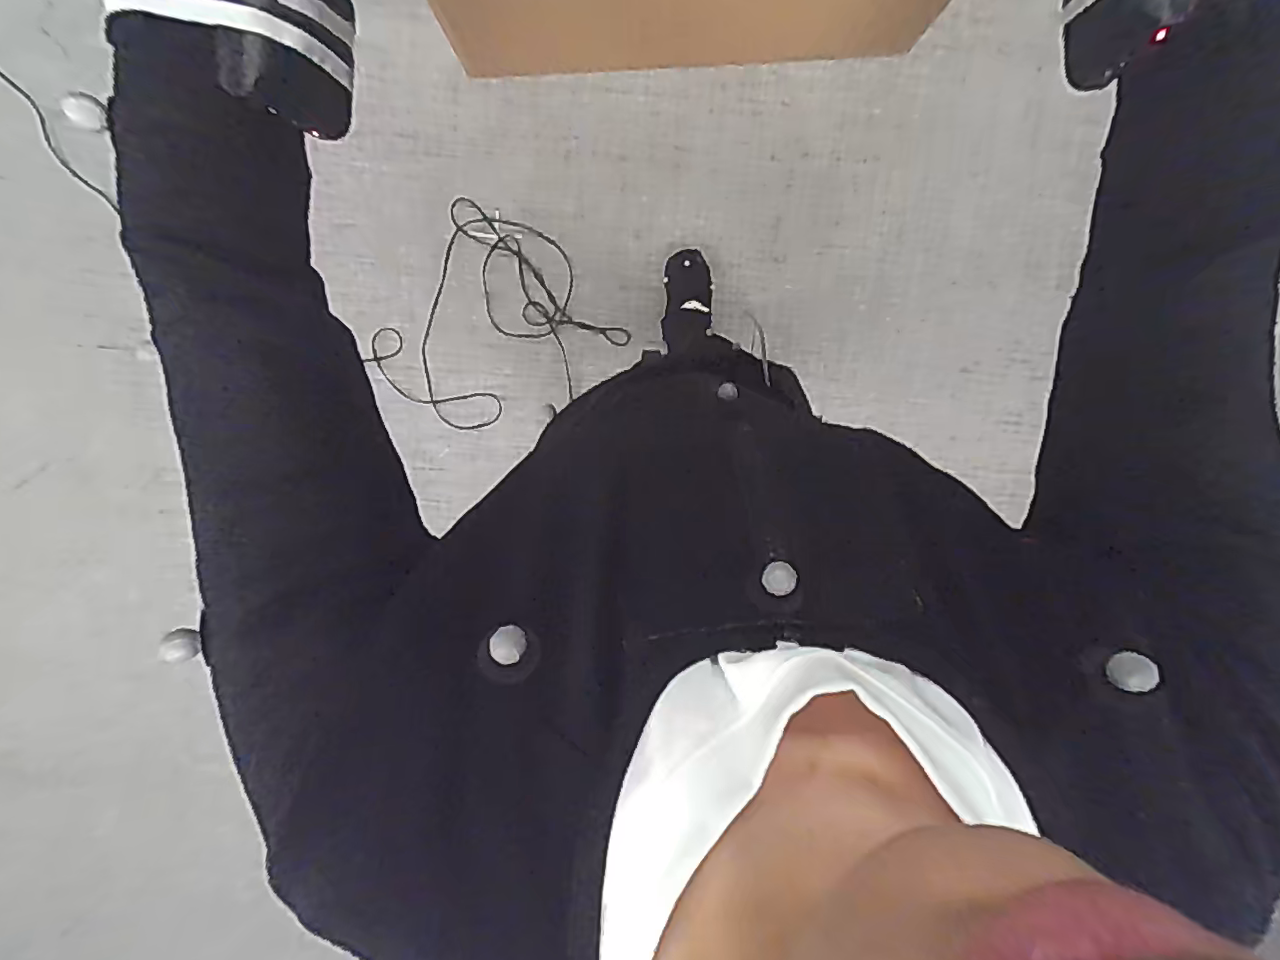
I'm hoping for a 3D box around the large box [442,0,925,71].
[{"bbox_3d":[0.035,-0.510,0.323,0.408,0.320,0.320,-5,101,-1],"label":"large box"}]
